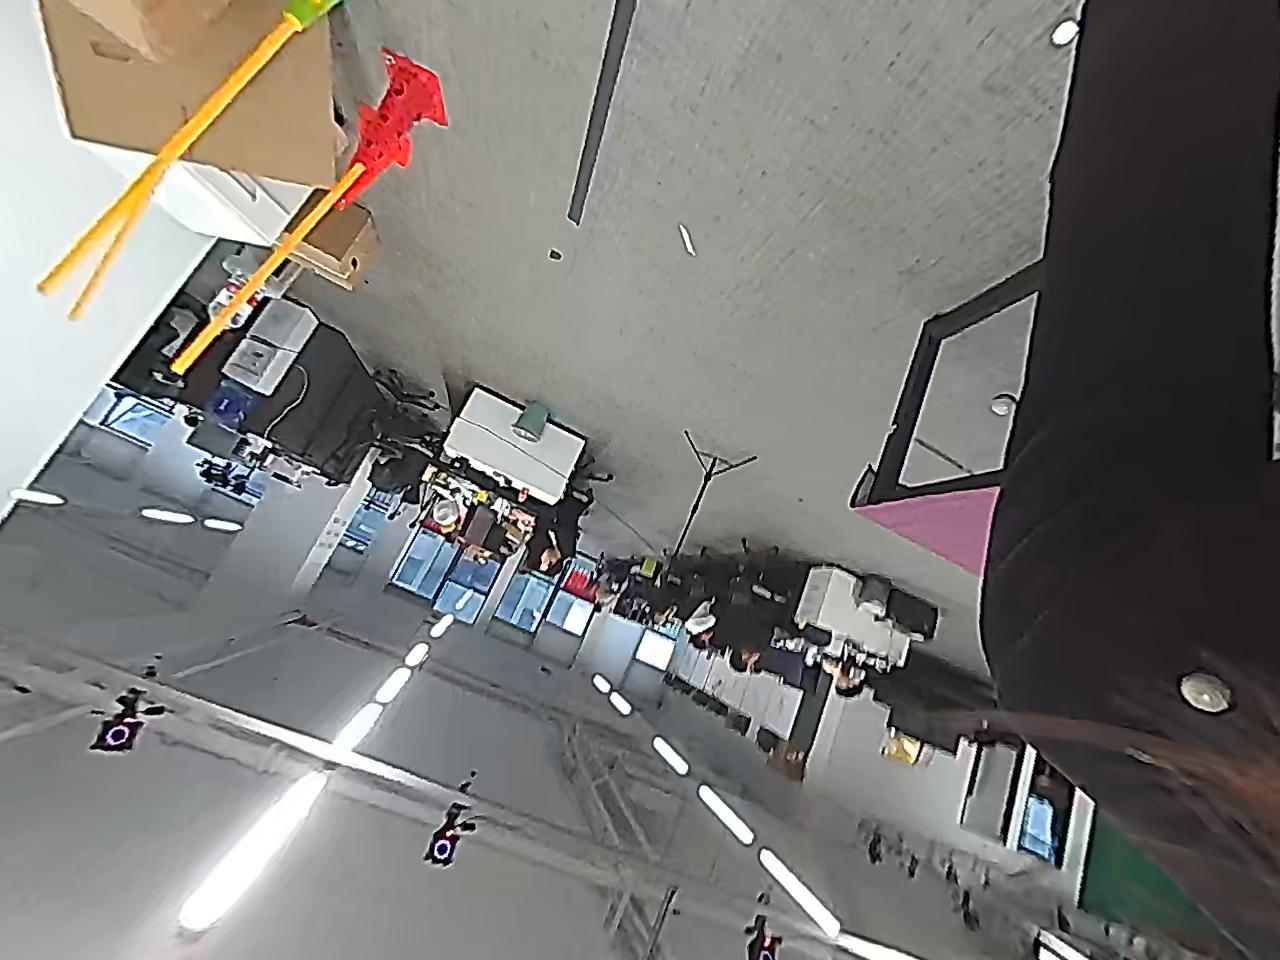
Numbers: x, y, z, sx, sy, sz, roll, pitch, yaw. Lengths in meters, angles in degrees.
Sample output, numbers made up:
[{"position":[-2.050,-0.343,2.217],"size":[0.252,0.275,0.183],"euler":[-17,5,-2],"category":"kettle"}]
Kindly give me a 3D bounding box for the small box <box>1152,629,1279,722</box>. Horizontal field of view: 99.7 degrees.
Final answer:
[{"position":[1.531,0.508,1.433],"size":[0.168,0.176,0.179],"euler":[24,165,-2],"category":"small box"}]
